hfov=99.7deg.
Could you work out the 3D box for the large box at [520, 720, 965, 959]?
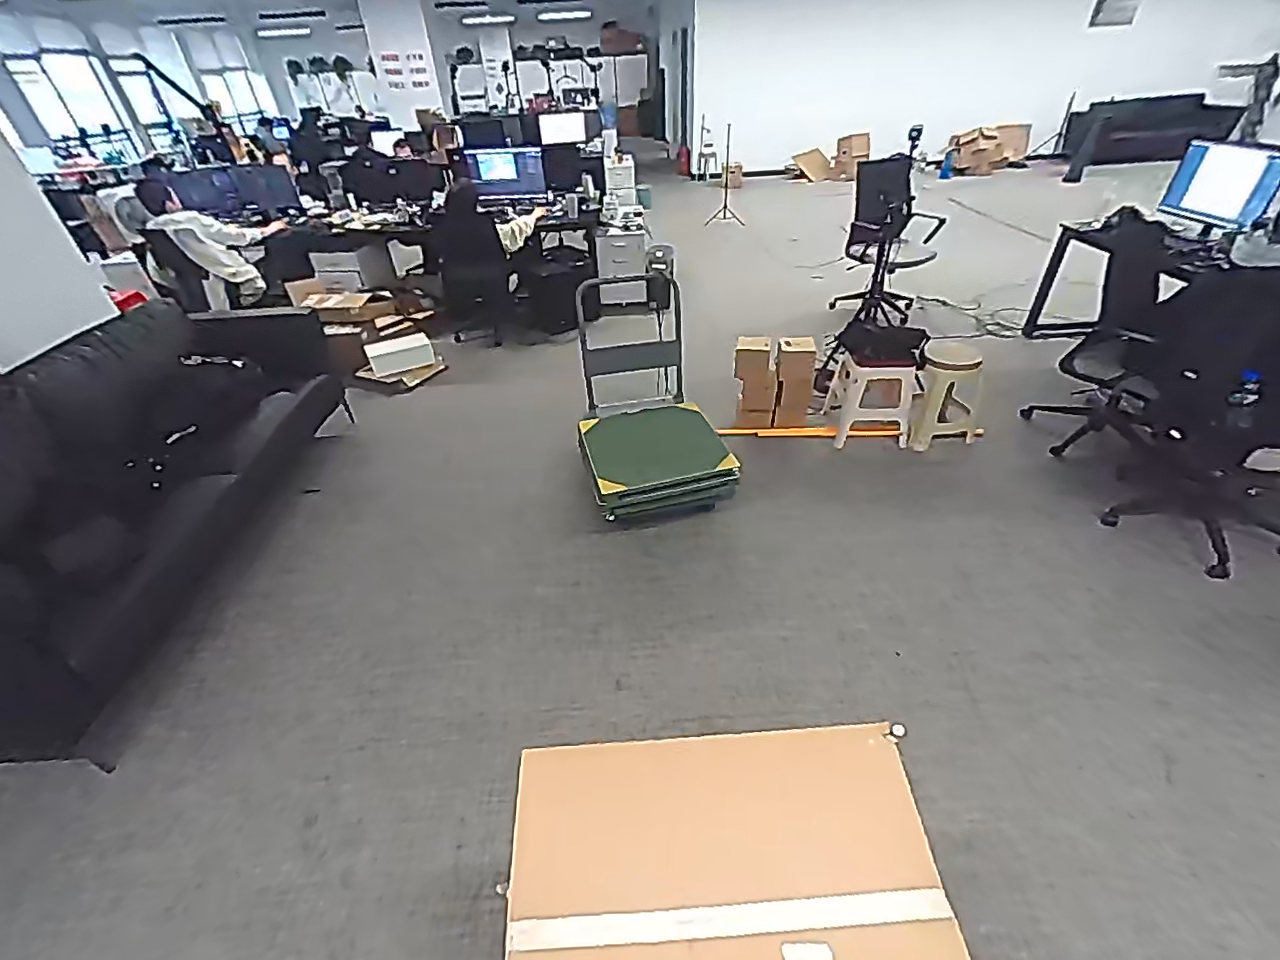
[{"bbox_3d":[0.092,0.498,0.617,0.408,0.320,0.320,-5,51,0],"label":"large box"}]
